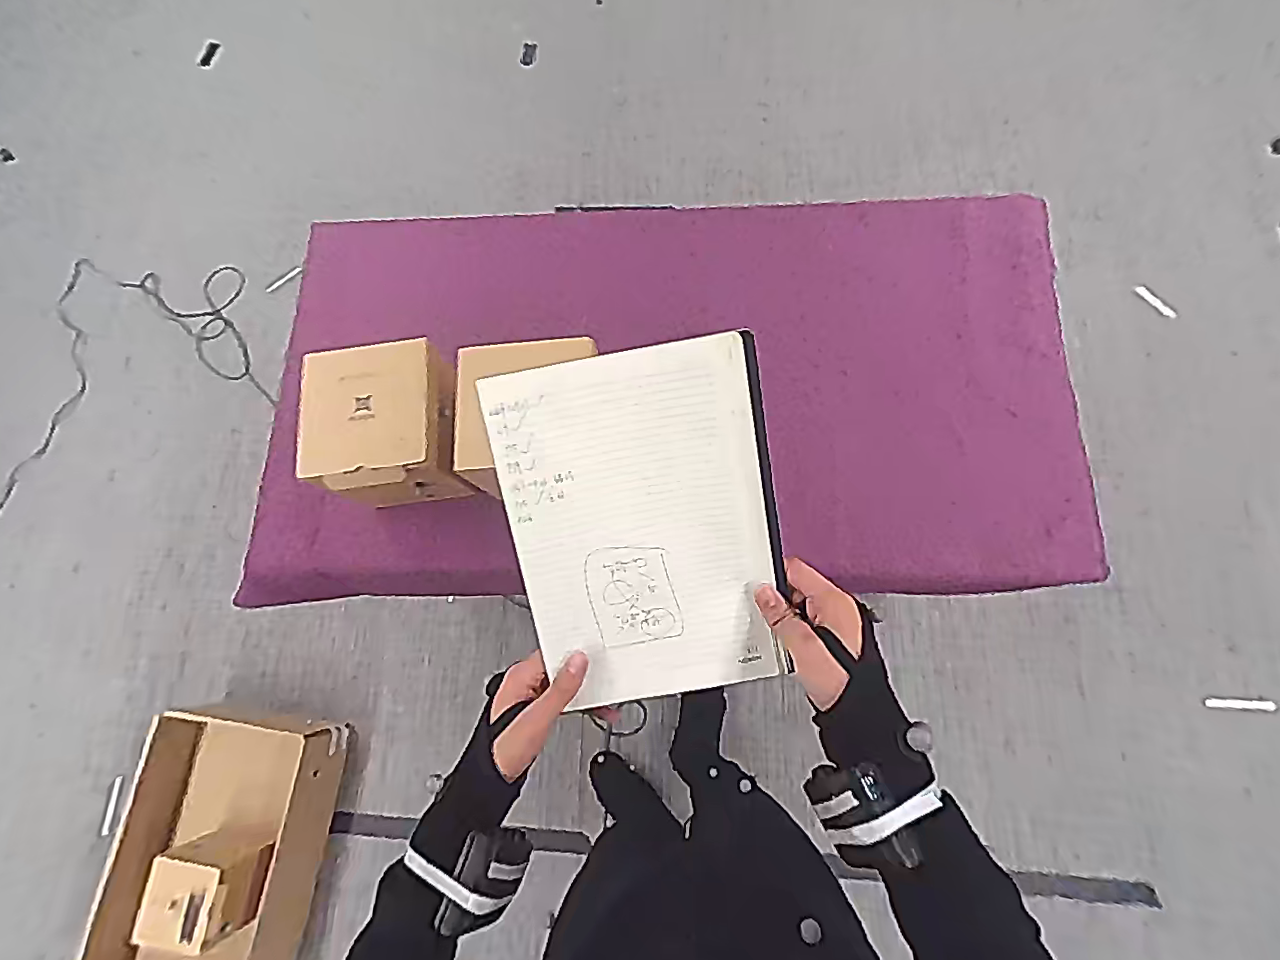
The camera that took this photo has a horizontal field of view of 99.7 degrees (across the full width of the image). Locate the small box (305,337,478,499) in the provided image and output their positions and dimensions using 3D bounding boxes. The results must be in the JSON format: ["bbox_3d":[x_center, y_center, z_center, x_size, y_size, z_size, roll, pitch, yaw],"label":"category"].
[{"bbox_3d":[-0.335,-0.076,0.763,0.168,0.176,0.179,-7,75,2],"label":"small box"}]

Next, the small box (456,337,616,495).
[{"bbox_3d":[-0.131,-0.077,0.744,0.179,0.176,0.168,-3,76,4],"label":"small box"}]
